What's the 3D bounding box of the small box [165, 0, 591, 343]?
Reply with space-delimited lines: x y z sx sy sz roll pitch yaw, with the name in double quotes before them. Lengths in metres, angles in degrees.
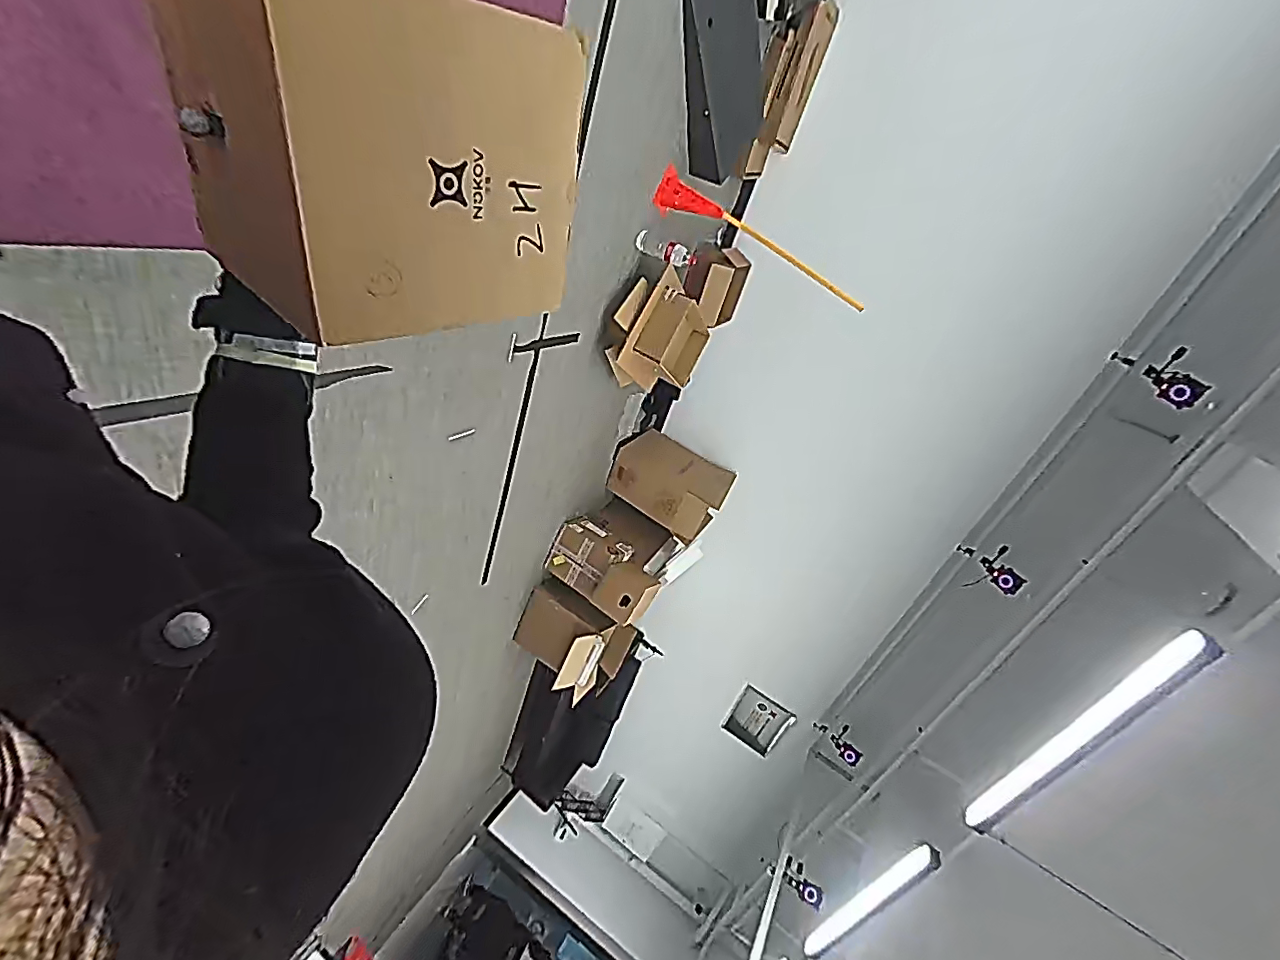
"small box" -0.160 -0.207 0.345 0.179 0.176 0.168 -28 143 -43
